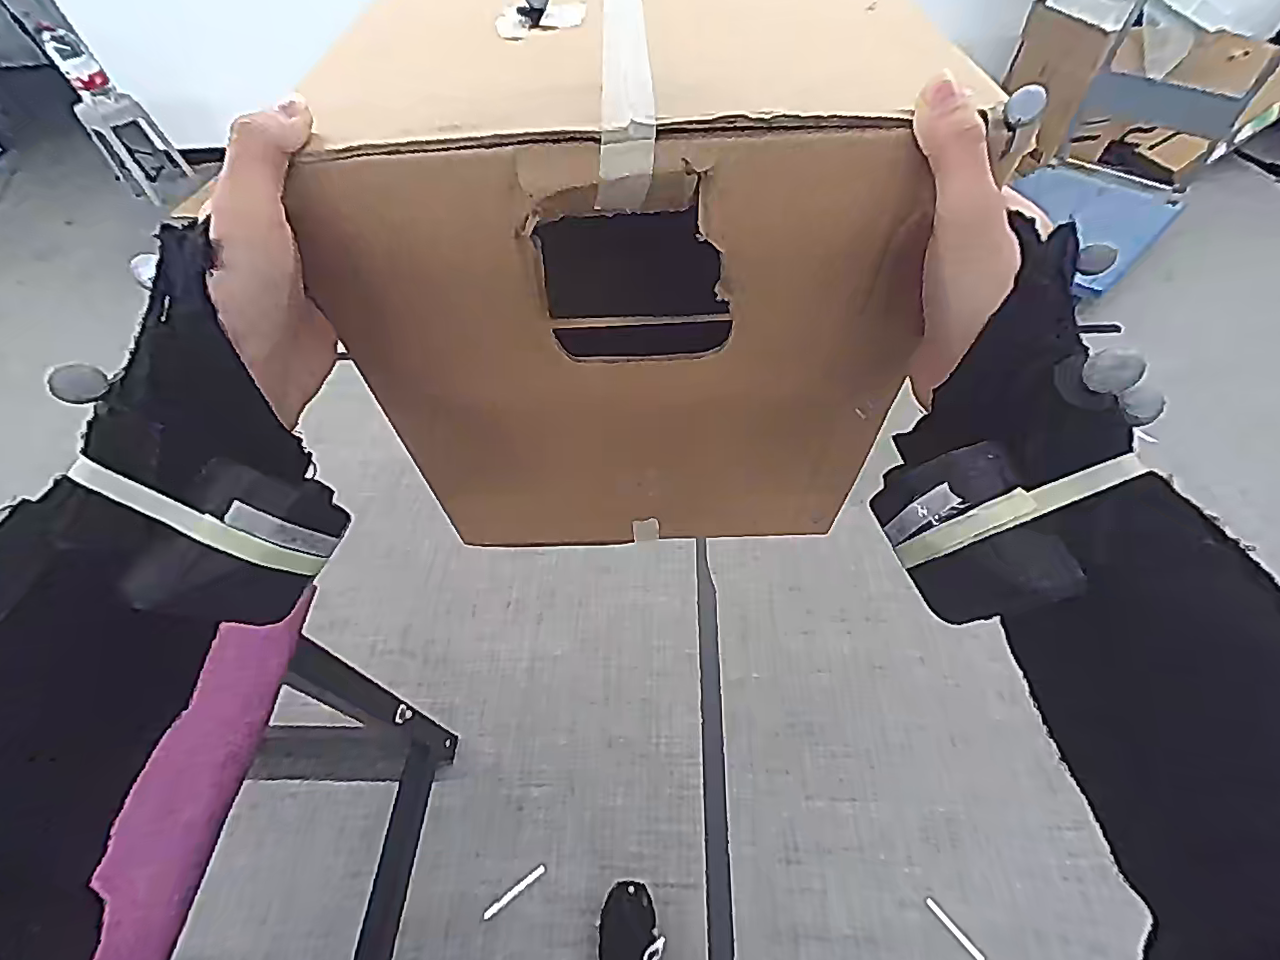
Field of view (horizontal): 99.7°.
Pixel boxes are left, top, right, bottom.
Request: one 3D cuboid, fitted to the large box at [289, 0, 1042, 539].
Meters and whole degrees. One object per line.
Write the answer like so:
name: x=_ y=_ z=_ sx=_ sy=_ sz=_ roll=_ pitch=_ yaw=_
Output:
large box: x=0.004 y=-0.202 z=0.449 sx=0.320 sy=0.320 sz=0.408 roll=-4 pitch=55 yaw=1
